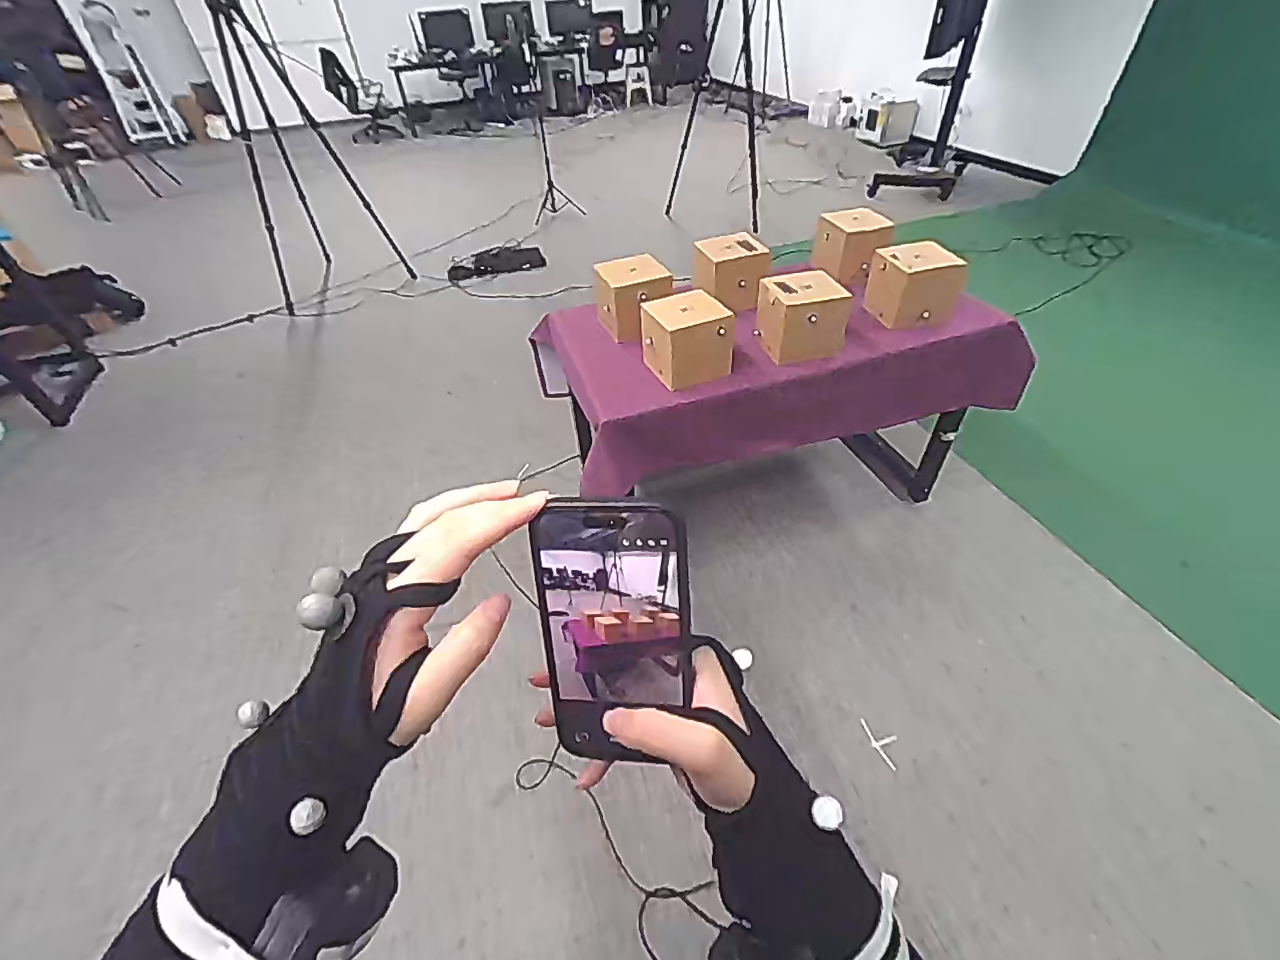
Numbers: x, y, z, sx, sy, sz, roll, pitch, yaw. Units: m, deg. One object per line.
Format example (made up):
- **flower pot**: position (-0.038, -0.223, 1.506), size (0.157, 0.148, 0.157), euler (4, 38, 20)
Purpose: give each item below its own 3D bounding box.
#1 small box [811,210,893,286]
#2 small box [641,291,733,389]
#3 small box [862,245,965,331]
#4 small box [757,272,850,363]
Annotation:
- **small box**: position (0.670, -0.744, 1.734), size (0.168, 0.176, 0.179), euler (-13, 45, -9)
- **small box**: position (0.115, -0.351, 1.363), size (0.179, 0.176, 0.168), euler (-18, 45, -17)
- **small box**: position (0.755, -0.537, 1.514), size (0.179, 0.176, 0.168), euler (-10, 44, -7)
- **small box**: position (0.416, -0.422, 1.416), size (0.179, 0.176, 0.168), euler (-10, 44, -8)
